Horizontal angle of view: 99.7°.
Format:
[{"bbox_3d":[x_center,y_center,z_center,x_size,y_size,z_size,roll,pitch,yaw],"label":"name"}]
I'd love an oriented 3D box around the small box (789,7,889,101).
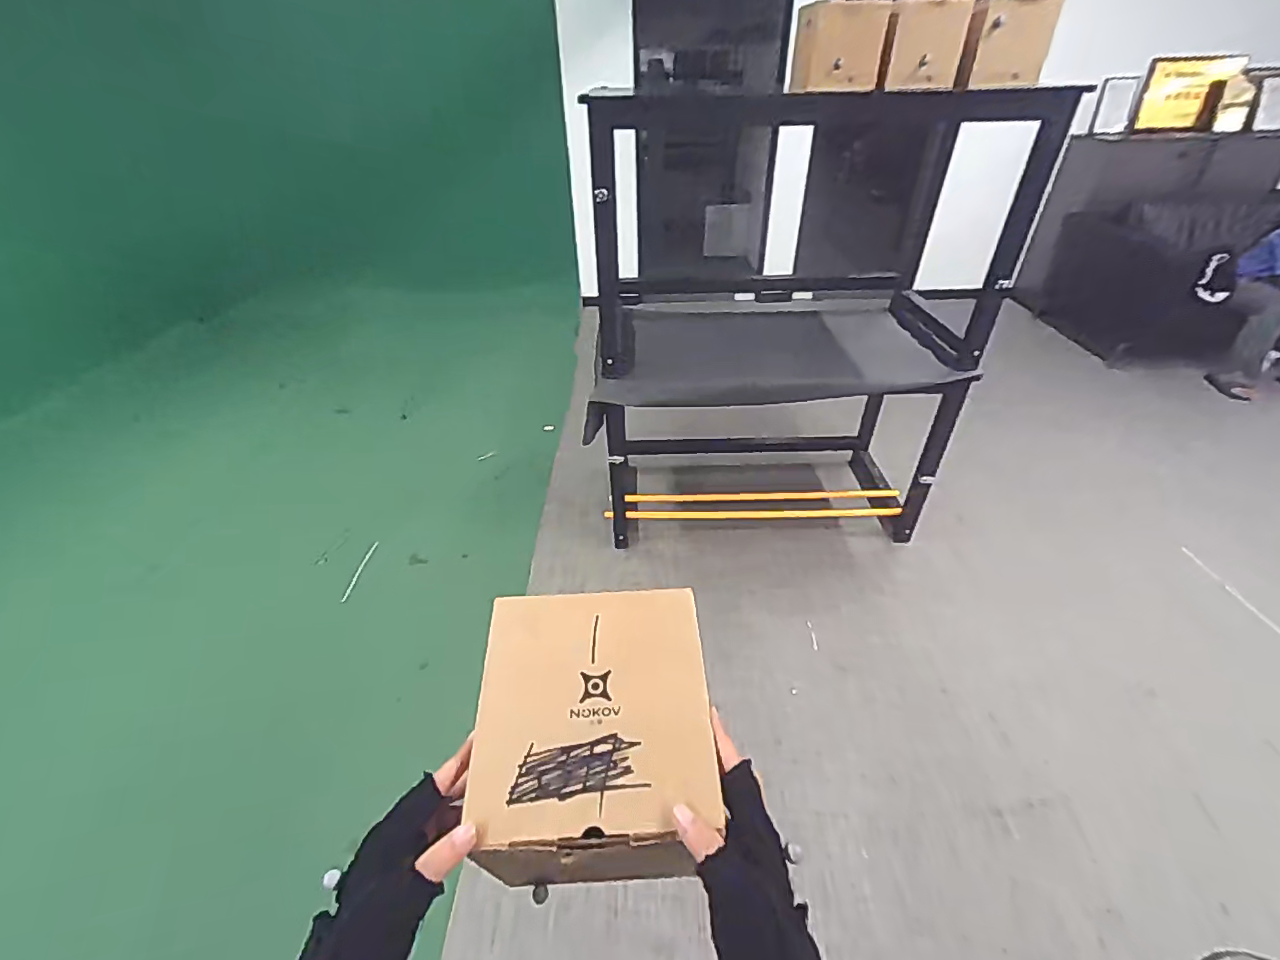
[{"bbox_3d":[0.473,-1.034,1.319,0.168,0.176,0.179,-1,37,-1],"label":"small box"}]
